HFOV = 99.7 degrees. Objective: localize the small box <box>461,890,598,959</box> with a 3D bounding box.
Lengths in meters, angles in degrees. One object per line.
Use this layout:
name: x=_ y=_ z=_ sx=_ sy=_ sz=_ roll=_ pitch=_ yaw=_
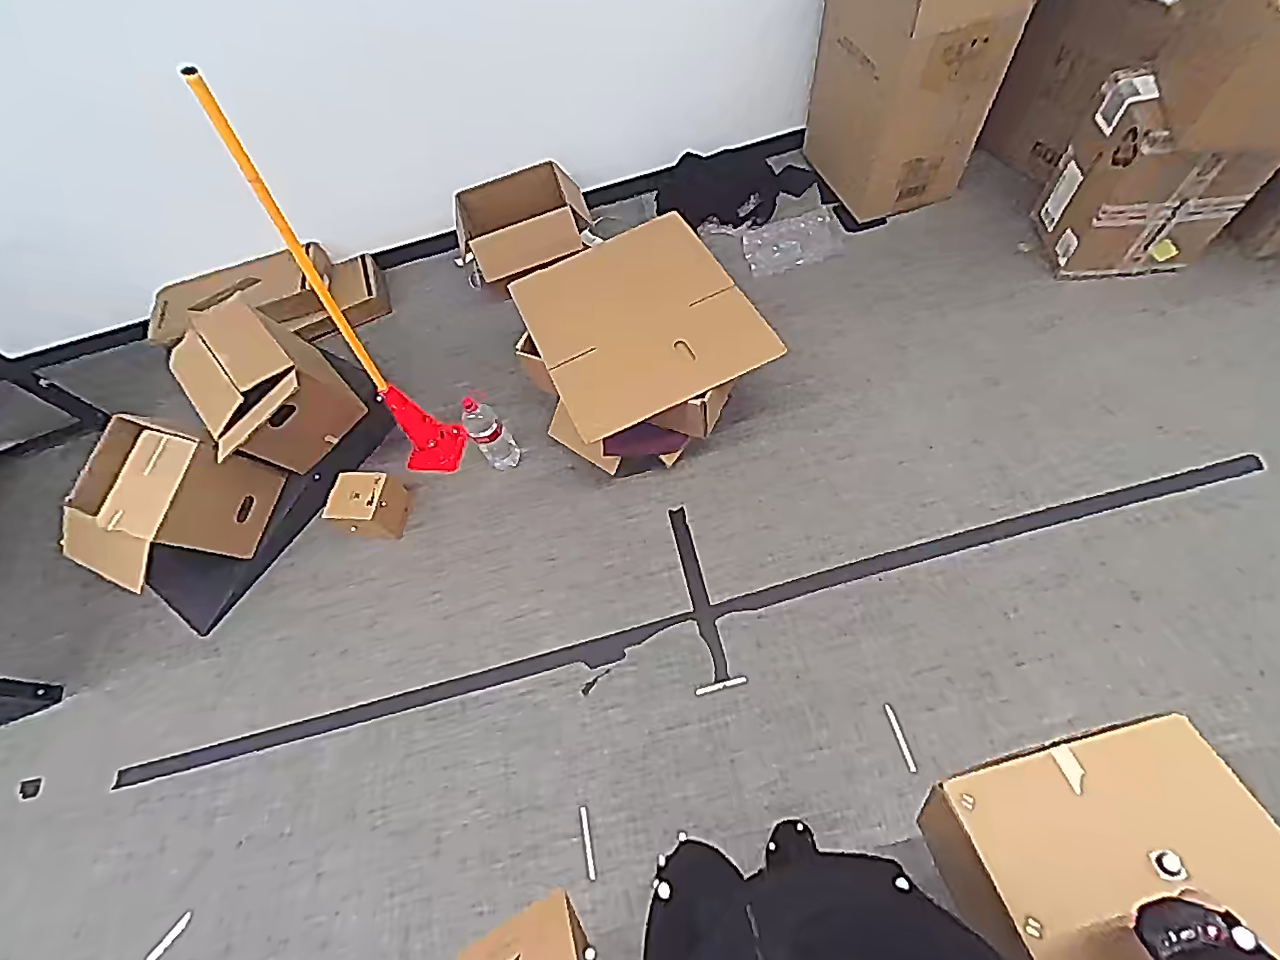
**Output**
small box: x=-0.126 y=0.709 z=0.704 sx=0.168 sy=0.179 sz=0.176 roll=-24 pitch=94 yaw=-15
